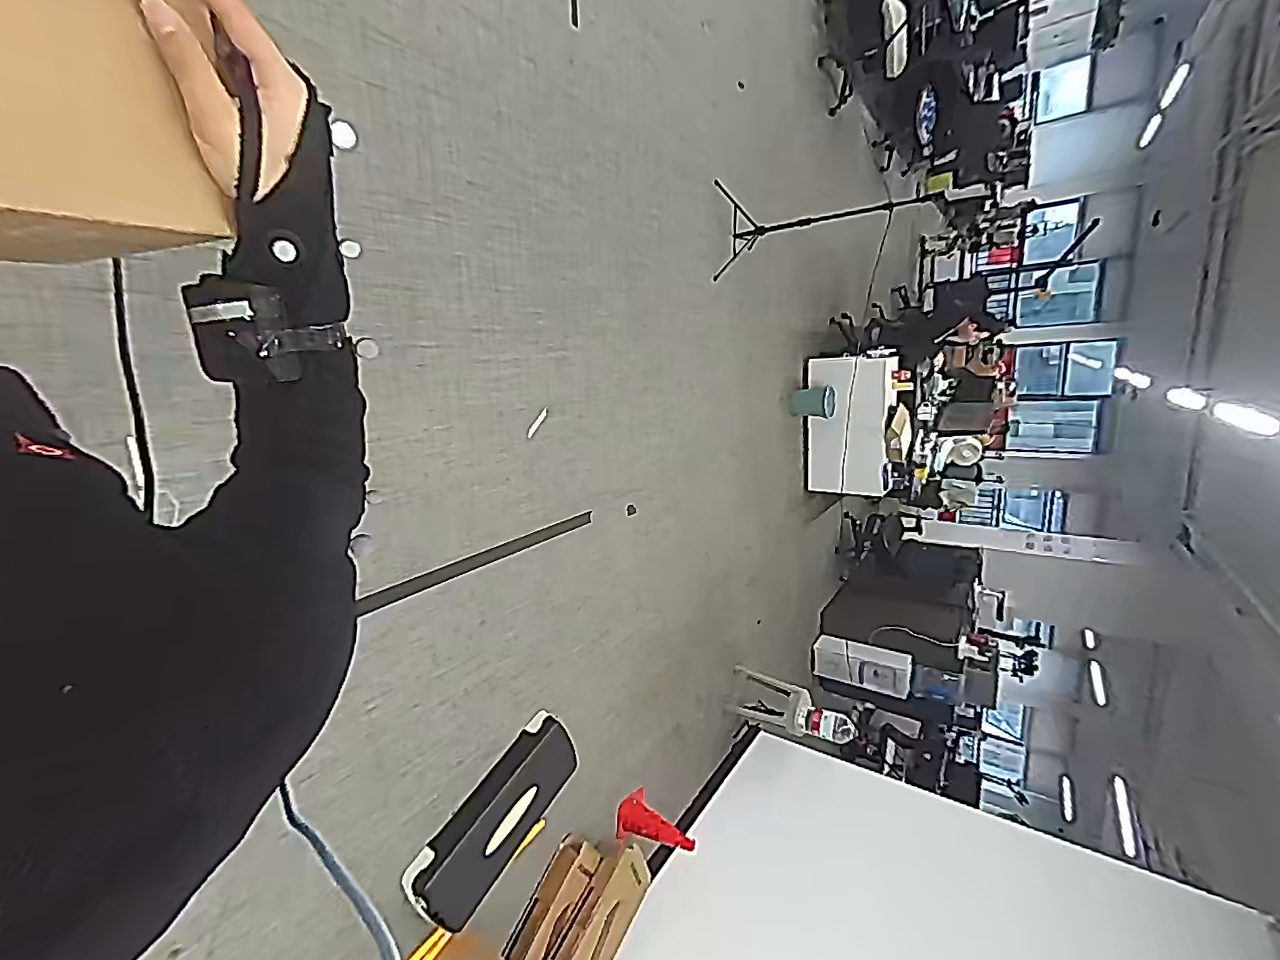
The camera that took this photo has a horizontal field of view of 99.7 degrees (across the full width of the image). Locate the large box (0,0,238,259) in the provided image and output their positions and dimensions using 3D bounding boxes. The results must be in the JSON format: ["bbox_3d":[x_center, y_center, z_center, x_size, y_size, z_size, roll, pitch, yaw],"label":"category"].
[{"bbox_3d":[-0.478,-0.271,0.204,0.408,0.320,0.320,-25,121,-56],"label":"large box"}]
